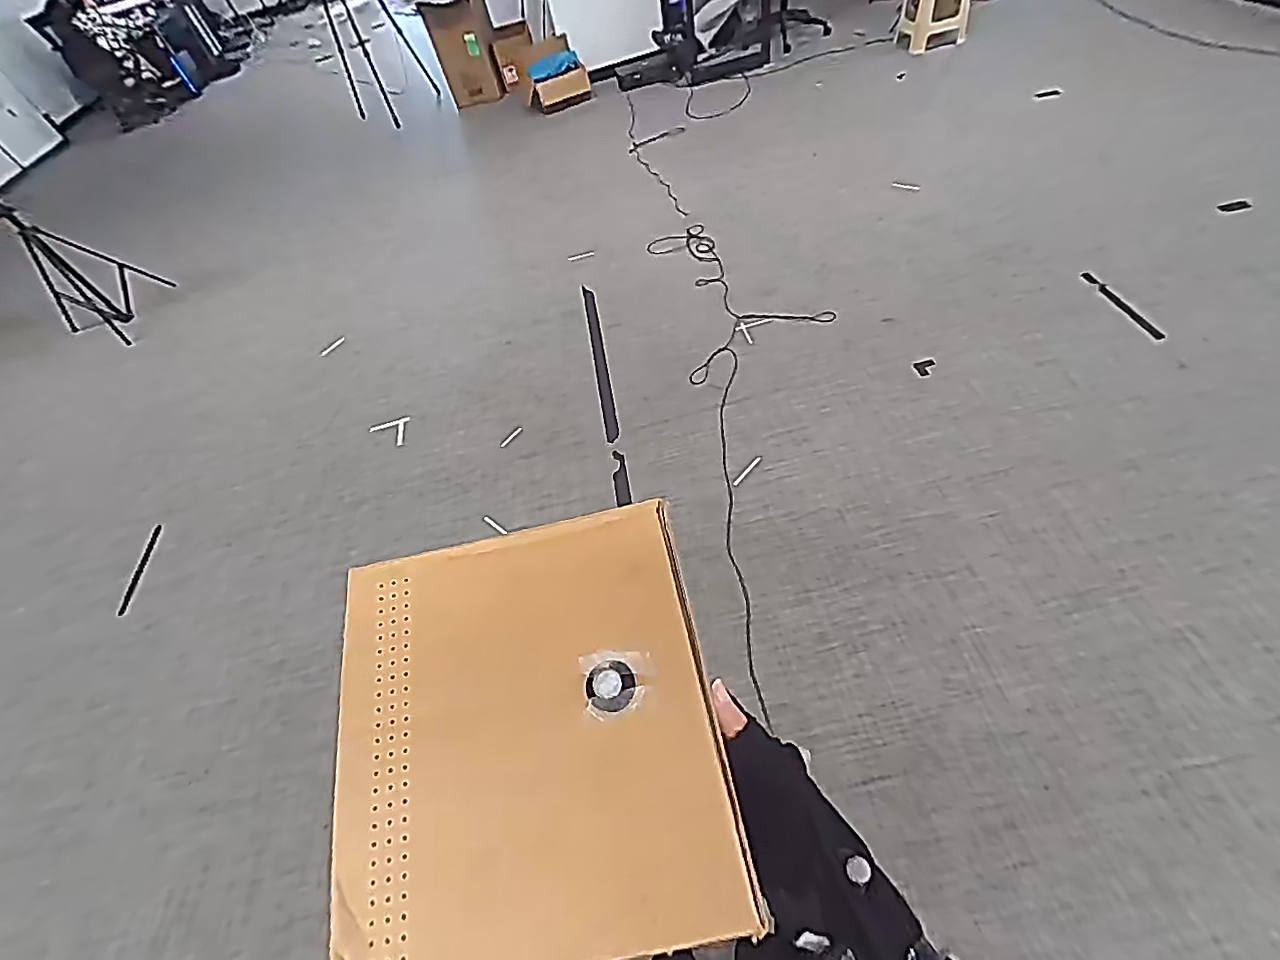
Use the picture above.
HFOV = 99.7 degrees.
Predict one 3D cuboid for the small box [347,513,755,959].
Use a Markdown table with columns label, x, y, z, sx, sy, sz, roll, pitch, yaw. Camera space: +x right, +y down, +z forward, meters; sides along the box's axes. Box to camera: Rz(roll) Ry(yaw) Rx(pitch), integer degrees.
| label | x | y | z | sx | sy | sz | roll | pitch | yaw |
| --- | --- | --- | --- | --- | --- | --- | --- | --- | --- |
| small box | -0.043 | 0.145 | 0.315 | 0.176 | 0.168 | 0.179 | -13 | 62 | 2 |
